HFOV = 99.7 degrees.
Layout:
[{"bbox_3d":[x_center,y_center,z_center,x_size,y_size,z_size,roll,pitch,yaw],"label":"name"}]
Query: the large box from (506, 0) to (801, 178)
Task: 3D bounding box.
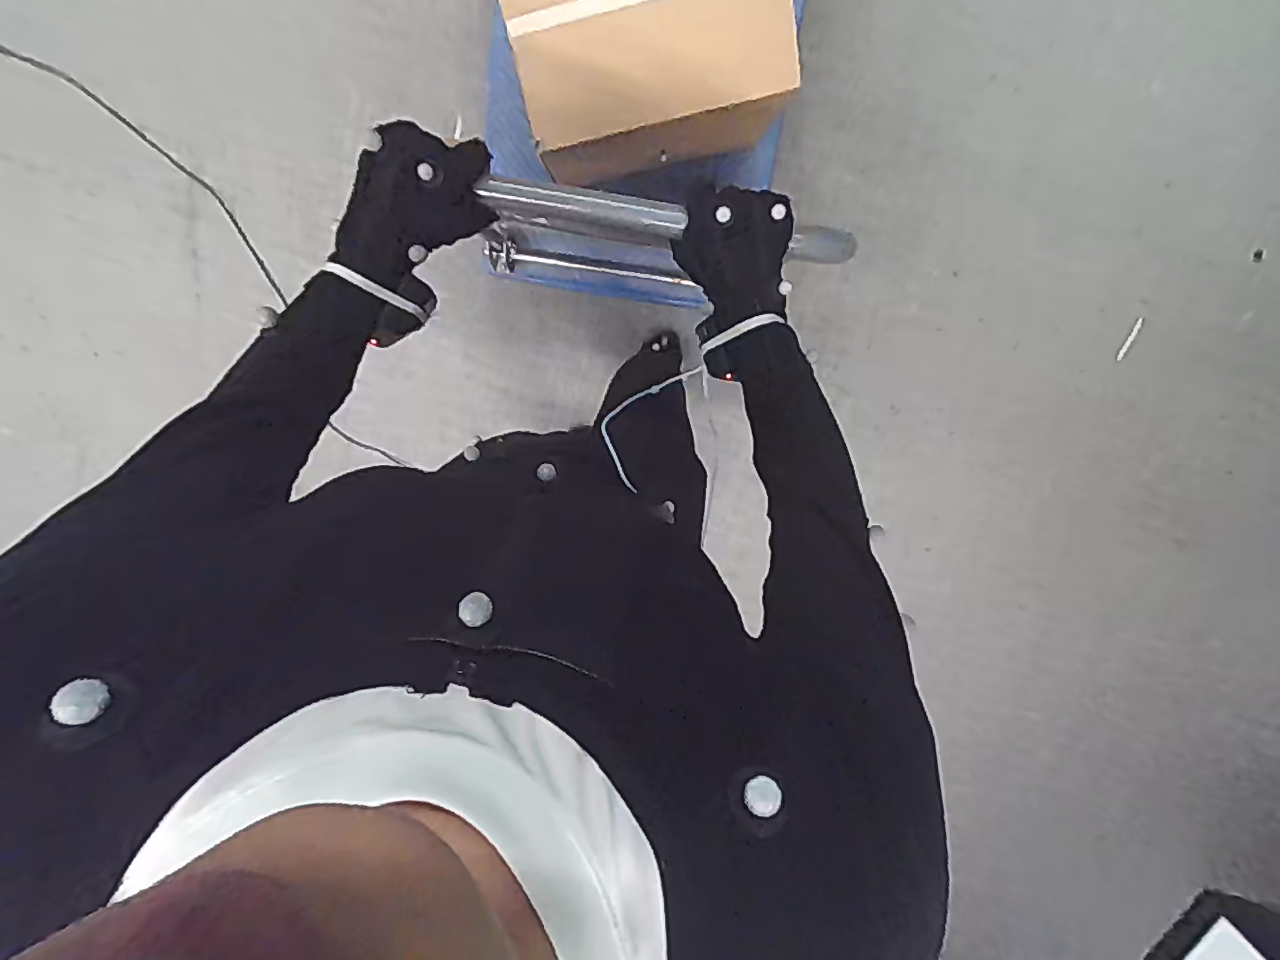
[{"bbox_3d":[0.011,-0.740,0.898,0.408,0.320,0.320,-12,108,3],"label":"large box"}]
